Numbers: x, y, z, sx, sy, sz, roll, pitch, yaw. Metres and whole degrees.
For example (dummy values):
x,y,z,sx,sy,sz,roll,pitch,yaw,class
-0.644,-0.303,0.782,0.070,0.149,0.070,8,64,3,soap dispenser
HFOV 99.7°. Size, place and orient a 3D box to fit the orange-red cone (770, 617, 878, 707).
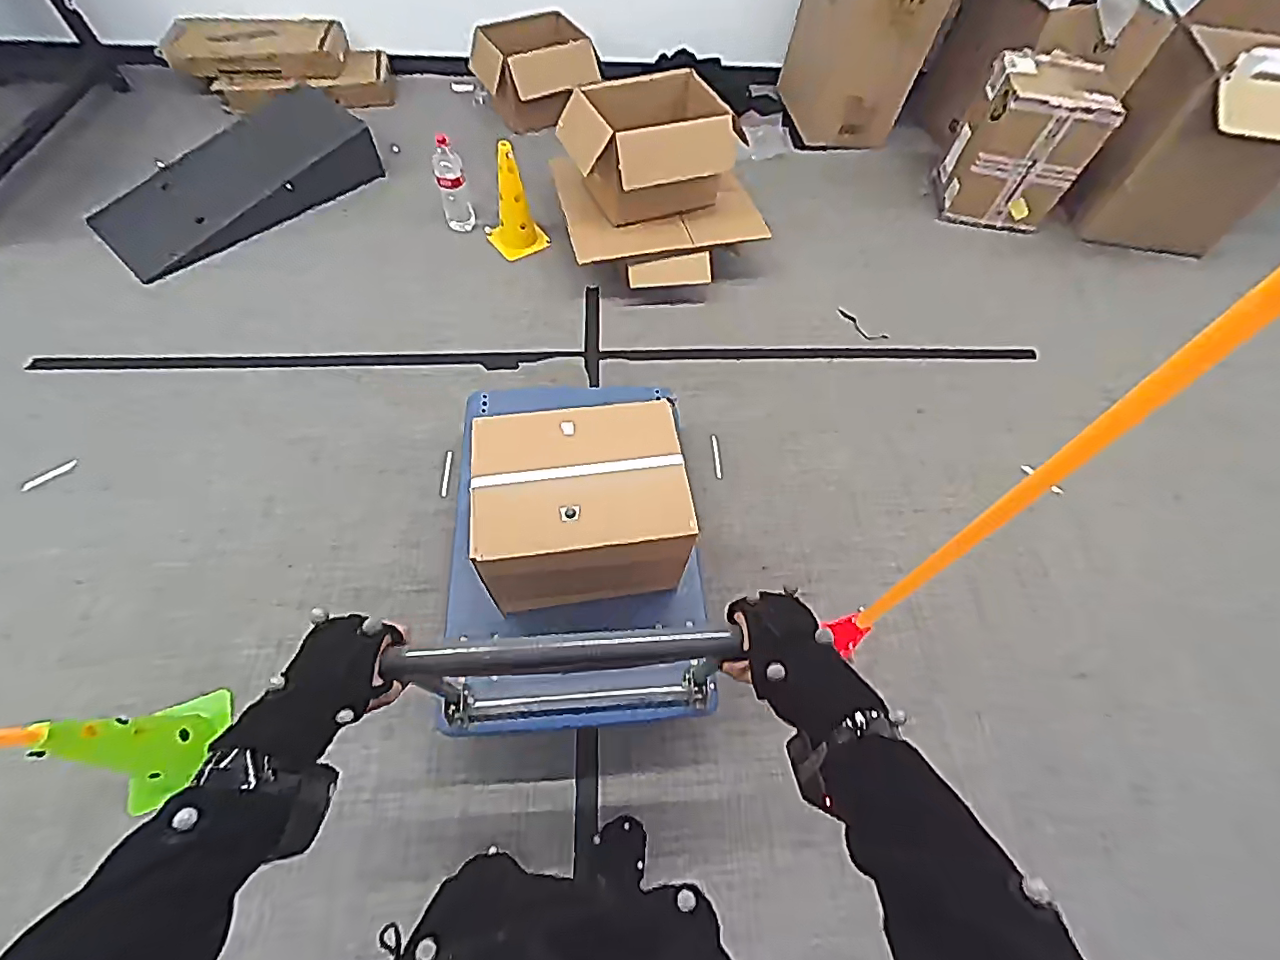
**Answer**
x,y,z,sx,sy,sz,roll,pitch,yaw,class
0.432,0.366,1.191,0.199,0.360,0.198,5,60,-1,orange-red cone
